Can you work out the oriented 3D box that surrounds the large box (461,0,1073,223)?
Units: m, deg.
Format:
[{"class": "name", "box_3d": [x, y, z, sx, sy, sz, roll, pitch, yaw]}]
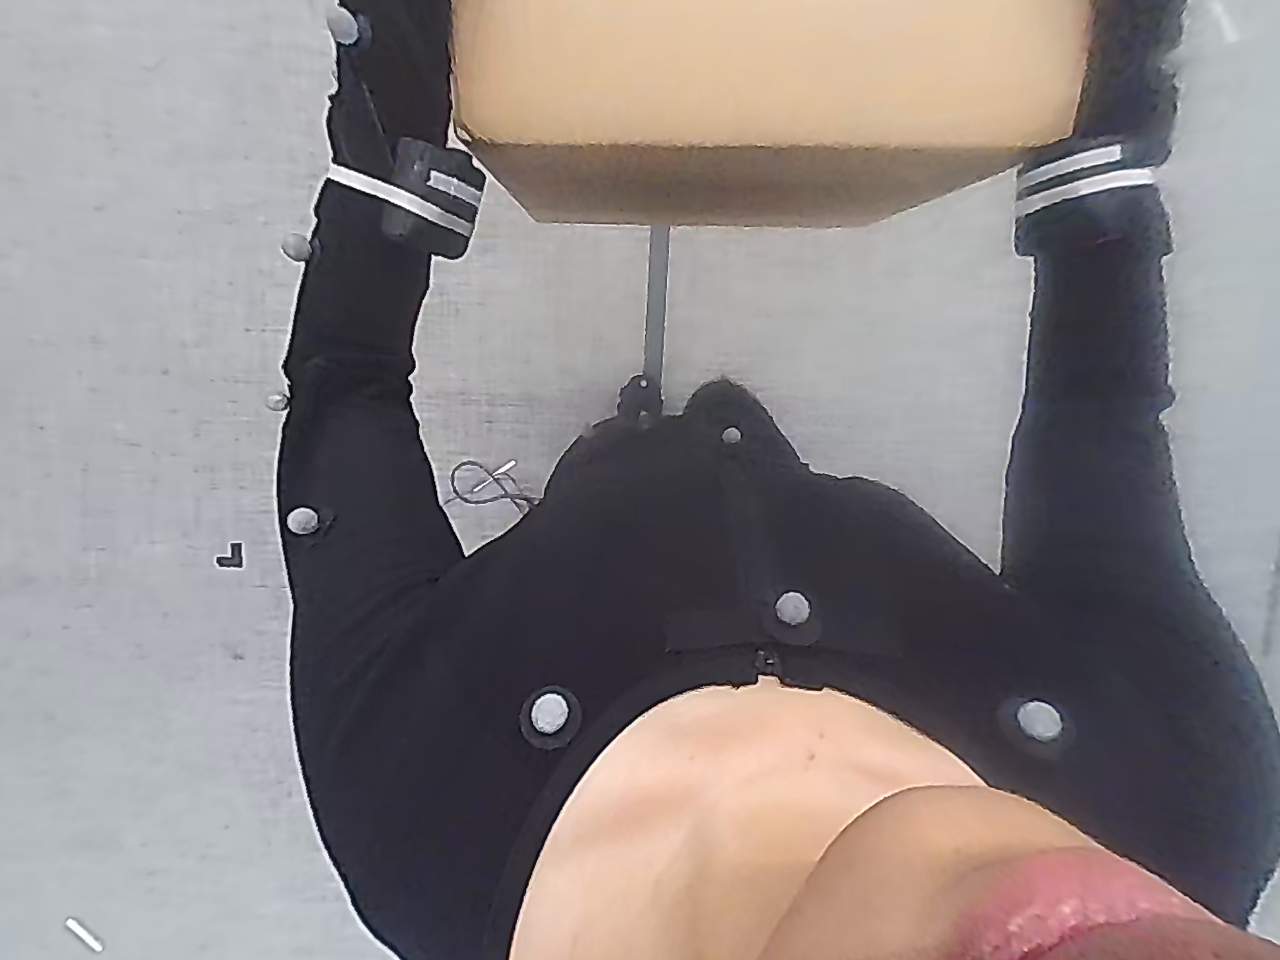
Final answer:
[{"class": "large box", "box_3d": [0.077, -0.423, 0.470, 0.408, 0.320, 0.320, 0, 106, -2]}]
